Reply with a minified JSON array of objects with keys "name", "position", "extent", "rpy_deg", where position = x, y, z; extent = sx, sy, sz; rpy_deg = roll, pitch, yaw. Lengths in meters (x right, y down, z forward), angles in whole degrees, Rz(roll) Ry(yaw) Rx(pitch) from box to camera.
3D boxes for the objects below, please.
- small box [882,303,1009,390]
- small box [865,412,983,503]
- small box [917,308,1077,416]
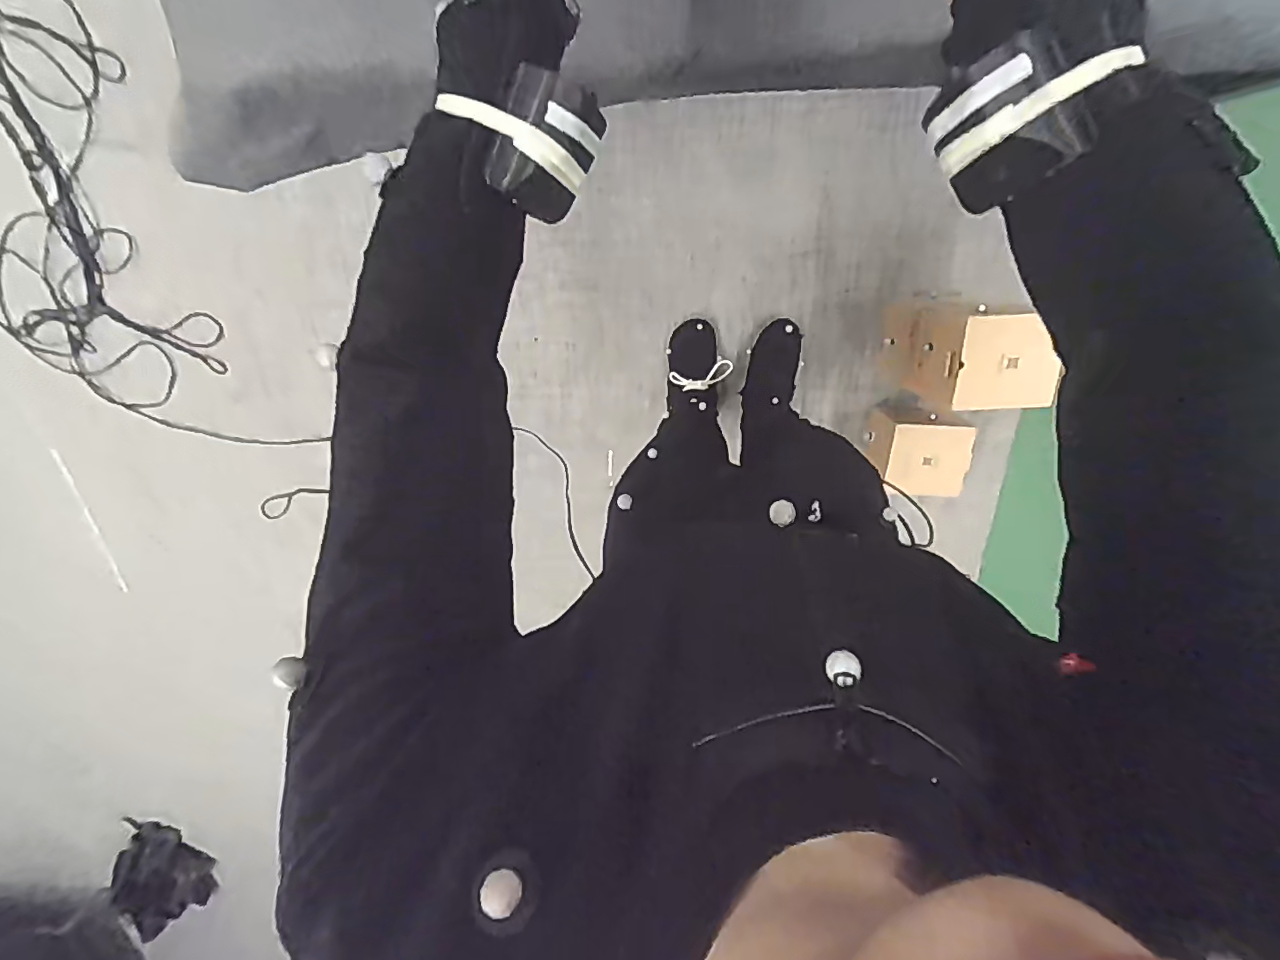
[{"name":"small box","position":[0.637,-0.287,1.155],"extent":[0.179,0.176,0.168],"rpy_deg":[-1,111,4]},{"name":"small box","position":[0.644,-0.058,1.249],"extent":[0.179,0.176,0.168],"rpy_deg":[2,111,5]},{"name":"small box","position":[0.646,-0.224,1.002],"extent":[0.179,0.176,0.168],"rpy_deg":[-3,112,5]}]
